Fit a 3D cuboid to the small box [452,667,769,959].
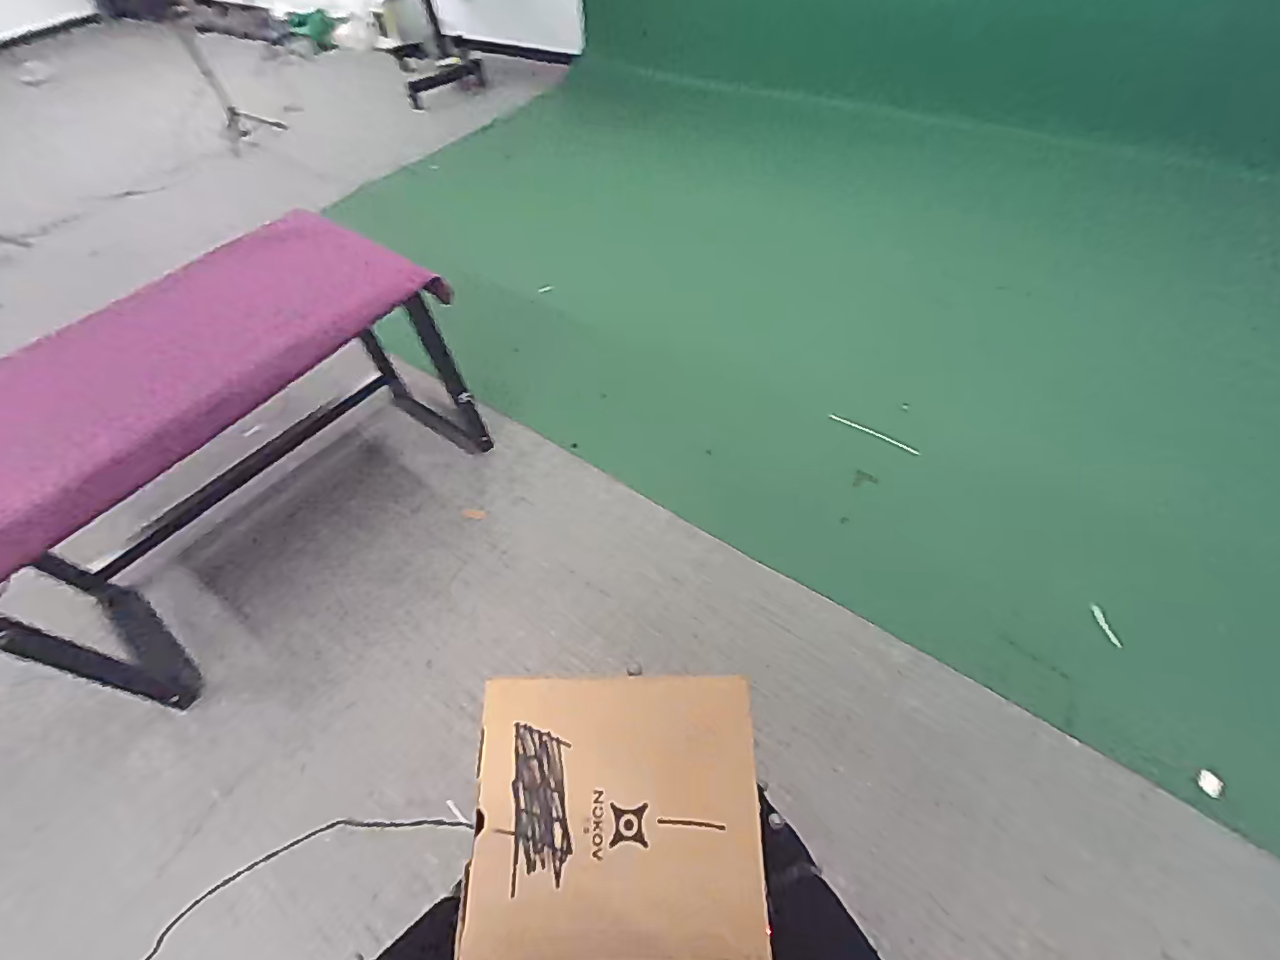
[{"bbox_3d":[-0.014,0.232,0.395,0.179,0.176,0.168,-1,66,1],"label":"small box"}]
